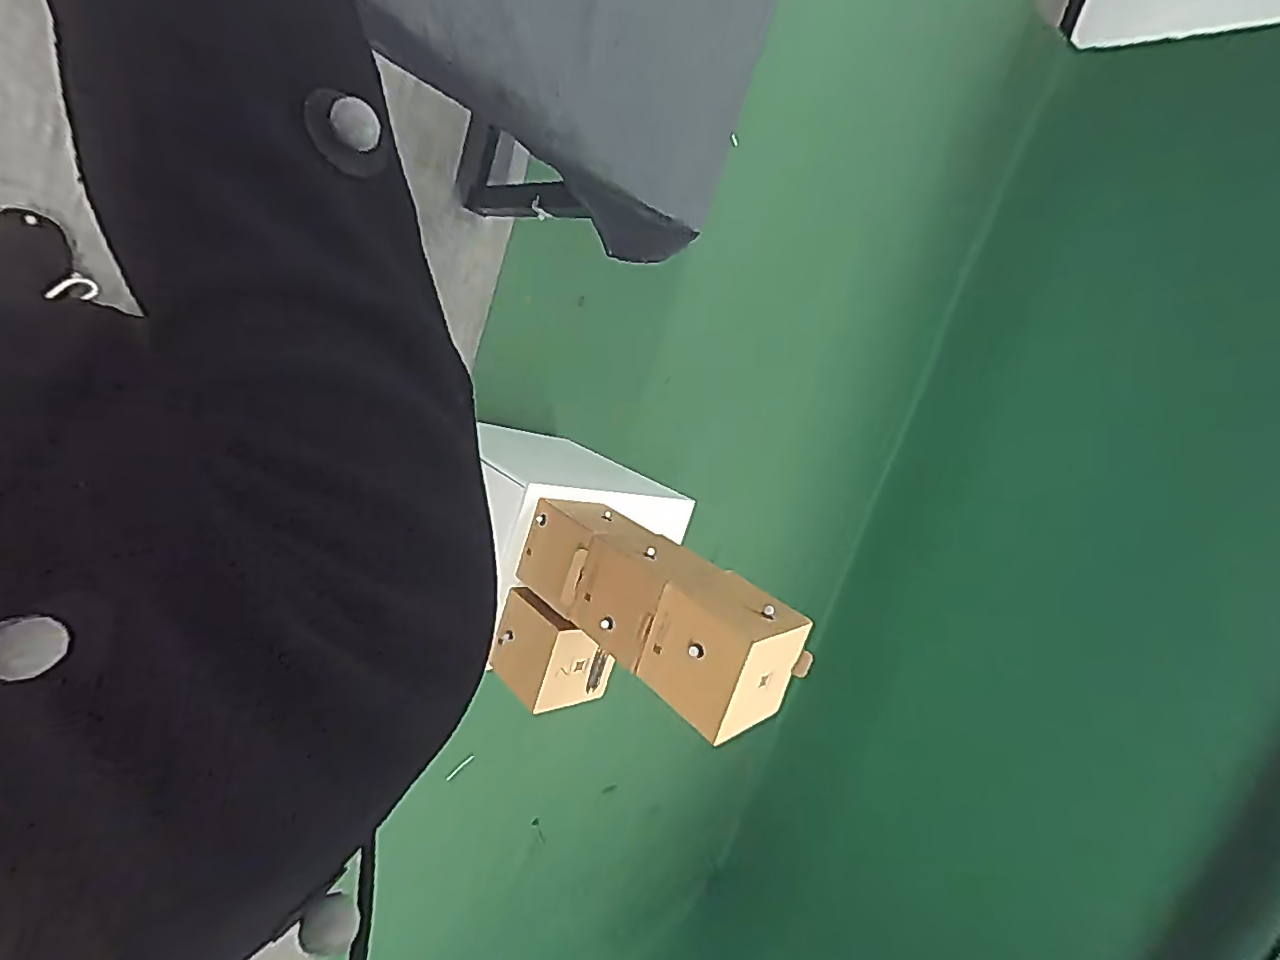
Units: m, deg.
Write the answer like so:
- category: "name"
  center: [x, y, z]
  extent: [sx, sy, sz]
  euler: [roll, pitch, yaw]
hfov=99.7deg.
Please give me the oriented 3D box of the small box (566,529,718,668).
- category: "small box"
  center: [-0.001, 0.193, 0.937]
  extent: [0.179, 0.176, 0.168]
  euler: [4, 109, -49]

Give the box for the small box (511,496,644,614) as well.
- category: "small box"
  center: [-0.119, 0.138, 1.035]
  extent: [0.179, 0.176, 0.168]
  euler: [8, 105, -49]

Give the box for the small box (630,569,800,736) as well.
- category: "small box"
  center: [0.112, 0.252, 0.836]
  extent: [0.179, 0.176, 0.168]
  euler: [2, 109, -48]
